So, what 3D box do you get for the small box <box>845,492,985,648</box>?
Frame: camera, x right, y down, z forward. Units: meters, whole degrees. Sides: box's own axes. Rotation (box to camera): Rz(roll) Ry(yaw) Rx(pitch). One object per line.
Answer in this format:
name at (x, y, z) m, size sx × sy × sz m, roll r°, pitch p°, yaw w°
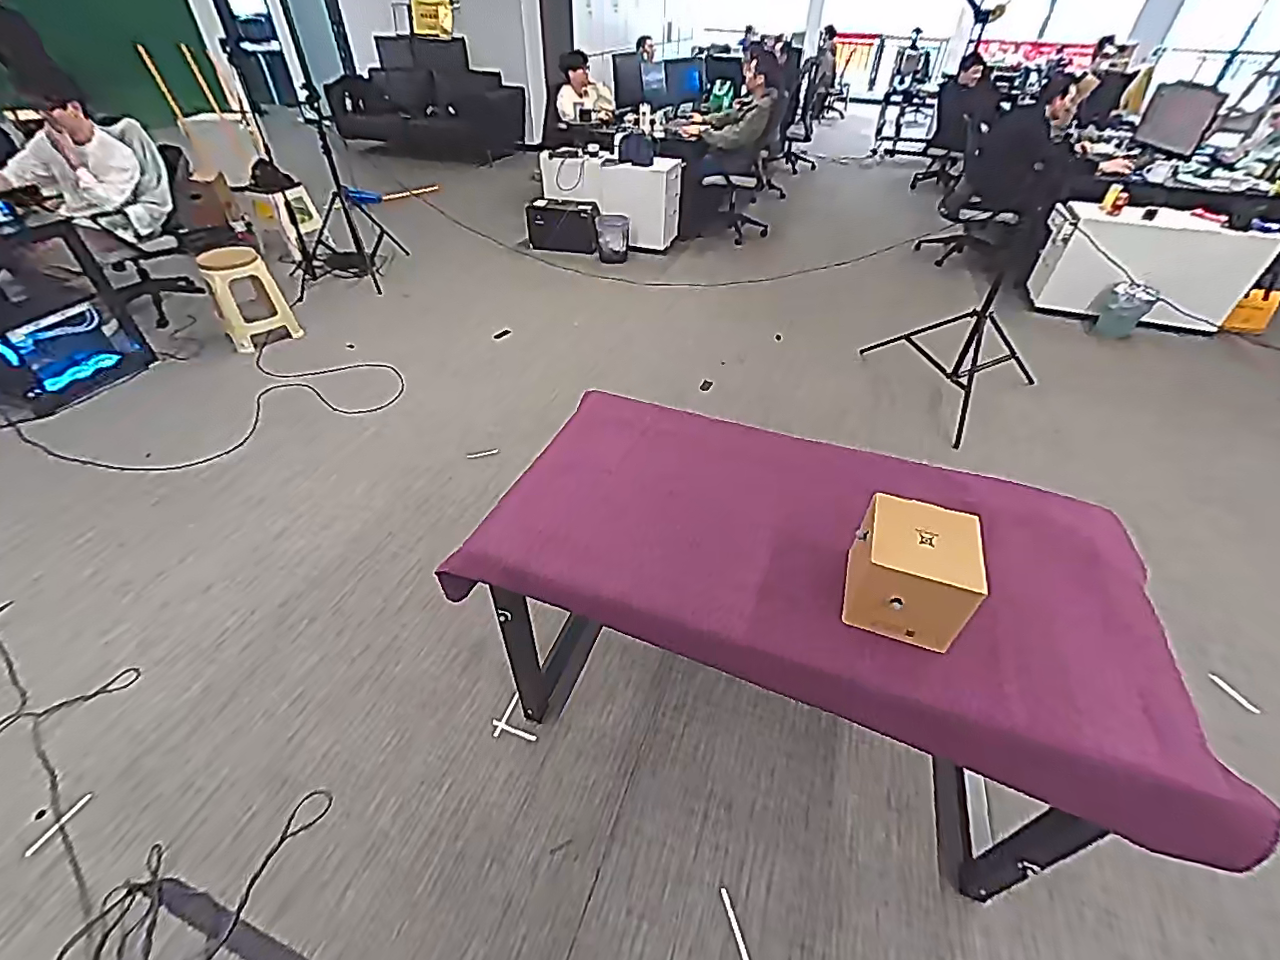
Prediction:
small box at (0.456, 0.153, 0.917) m, size 0.168 × 0.176 × 0.179 m, roll 15°, pitch 43°, yaw 15°
